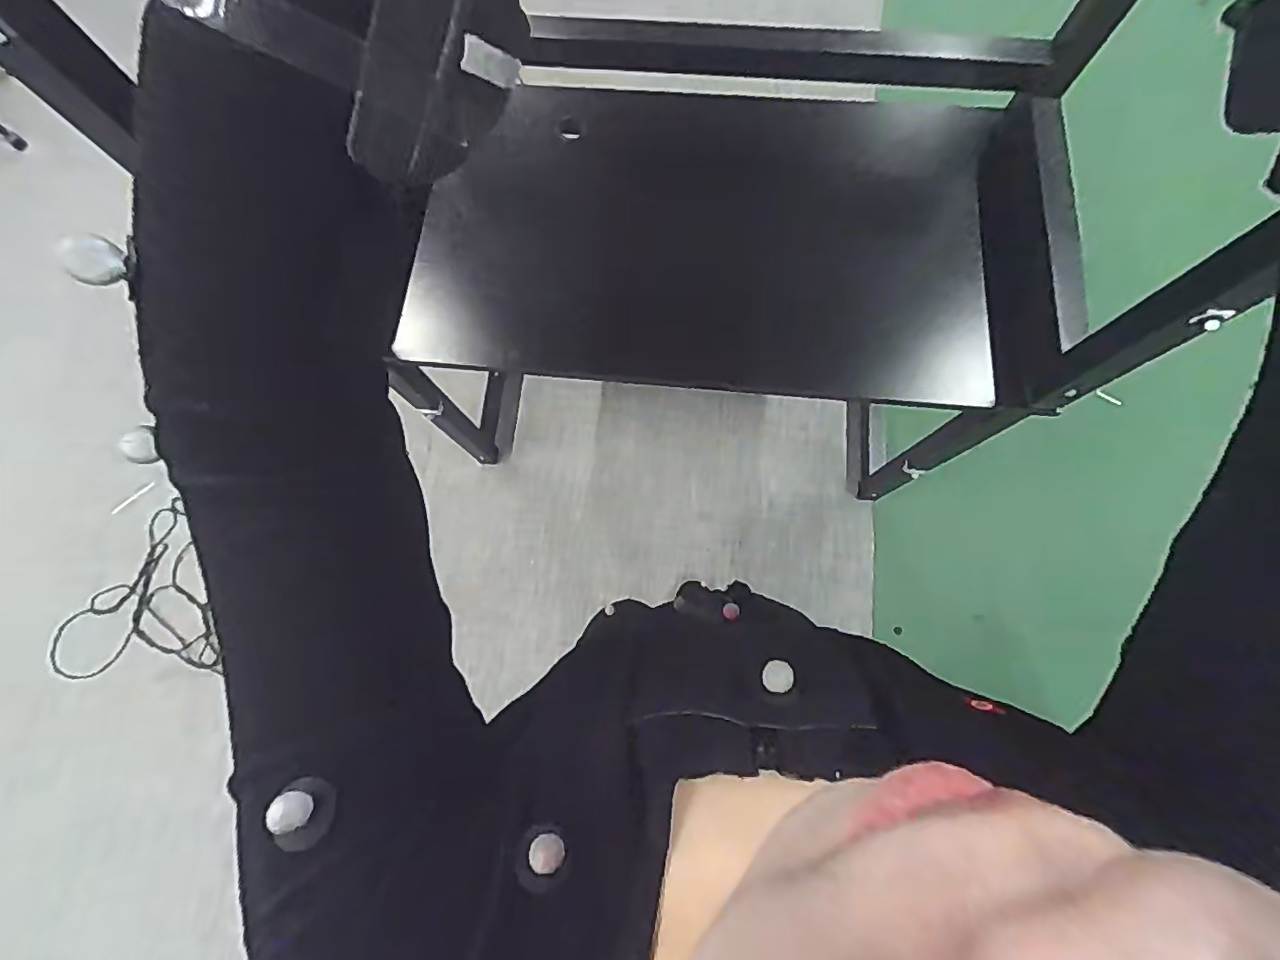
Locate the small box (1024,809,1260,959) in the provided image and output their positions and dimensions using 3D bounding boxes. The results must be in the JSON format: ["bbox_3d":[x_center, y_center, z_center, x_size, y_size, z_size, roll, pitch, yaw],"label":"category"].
[{"bbox_3d":[0.651,0.574,0.721,0.168,0.176,0.179,12,78,4],"label":"small box"}]
